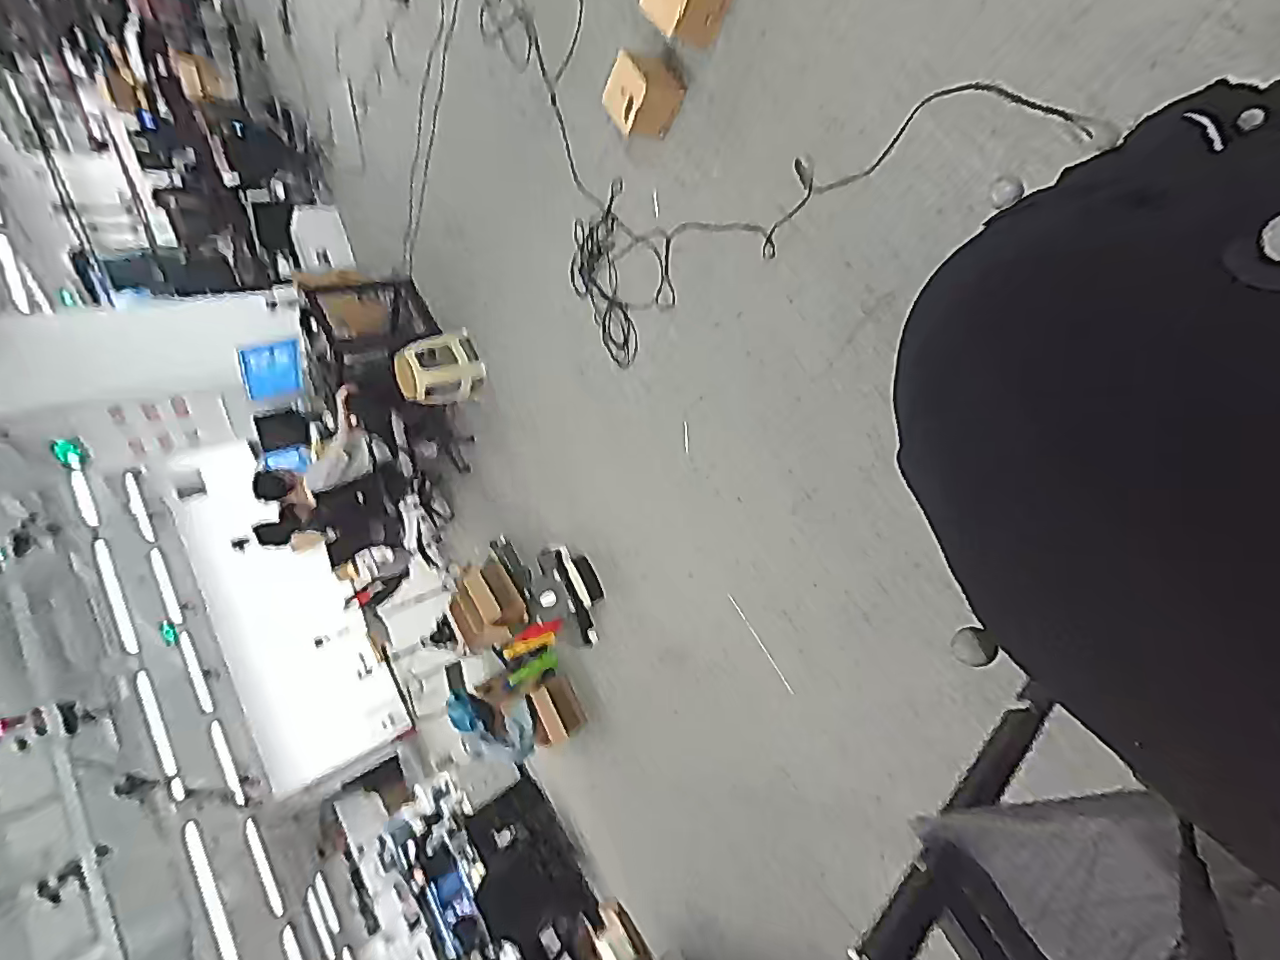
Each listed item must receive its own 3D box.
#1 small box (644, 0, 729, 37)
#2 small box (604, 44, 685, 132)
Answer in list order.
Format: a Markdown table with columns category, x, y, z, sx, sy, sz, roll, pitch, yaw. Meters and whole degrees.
| category | x | y | z | sx | sy | sz | roll | pitch | yaw |
| --- | --- | --- | --- | --- | --- | --- | --- | --- | --- |
| small box | 0.140 | -1.407 | 1.540 | 0.179 | 0.176 | 0.168 | 56 | 143 | 15 |
| small box | 0.016 | -1.274 | 1.768 | 0.179 | 0.176 | 0.168 | 60 | 144 | 12 |
